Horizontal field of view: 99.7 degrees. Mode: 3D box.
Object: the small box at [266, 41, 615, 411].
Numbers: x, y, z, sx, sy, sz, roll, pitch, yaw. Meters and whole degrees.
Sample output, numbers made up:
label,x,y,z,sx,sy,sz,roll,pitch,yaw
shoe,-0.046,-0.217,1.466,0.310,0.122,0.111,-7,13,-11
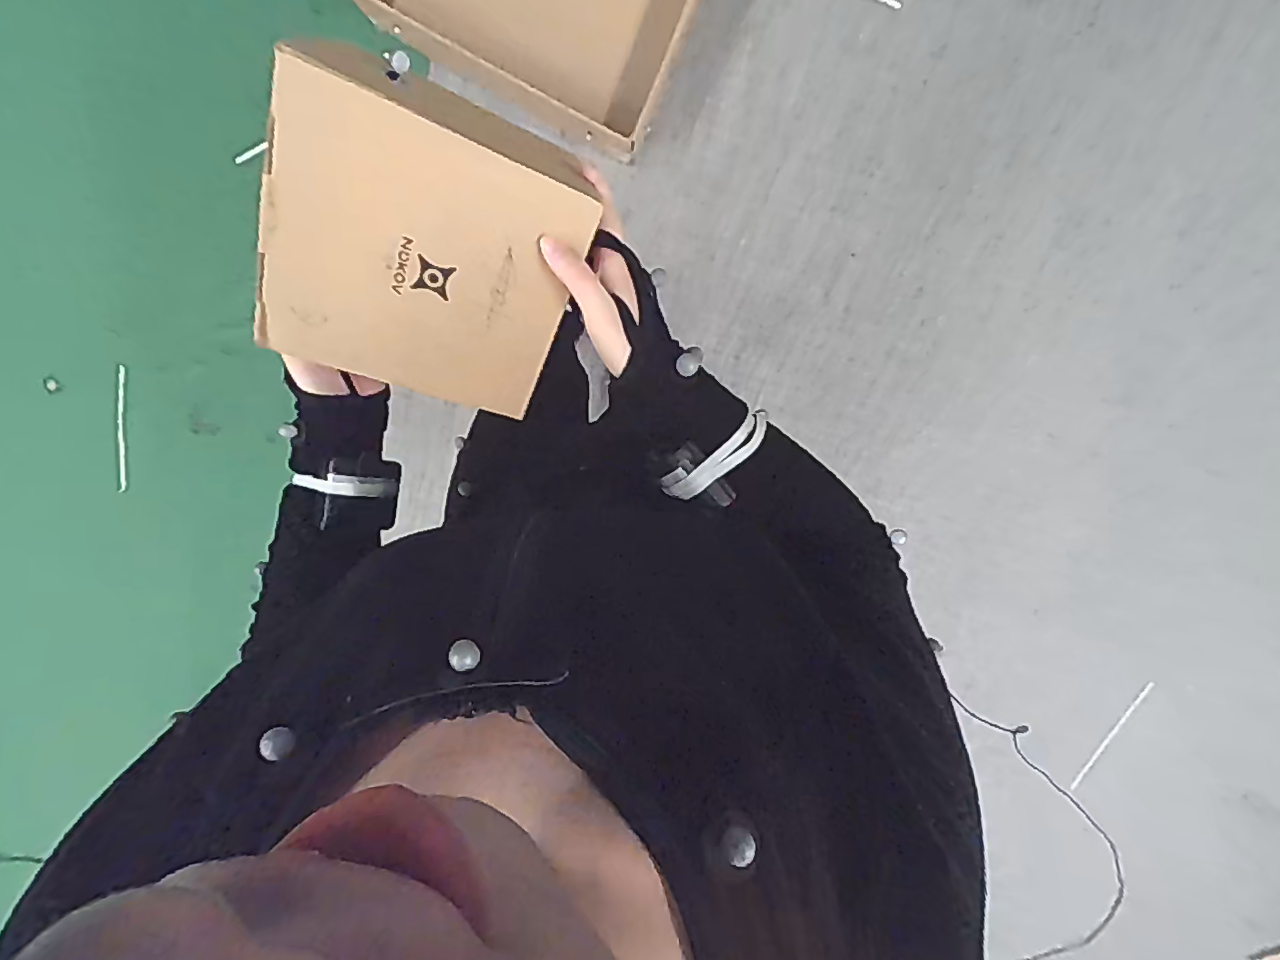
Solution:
label,x,y,z,sx,sy,sz,roll,pitch,yaw
small box,-0.142,-0.182,0.400,0.179,0.176,0.168,15,124,-26
